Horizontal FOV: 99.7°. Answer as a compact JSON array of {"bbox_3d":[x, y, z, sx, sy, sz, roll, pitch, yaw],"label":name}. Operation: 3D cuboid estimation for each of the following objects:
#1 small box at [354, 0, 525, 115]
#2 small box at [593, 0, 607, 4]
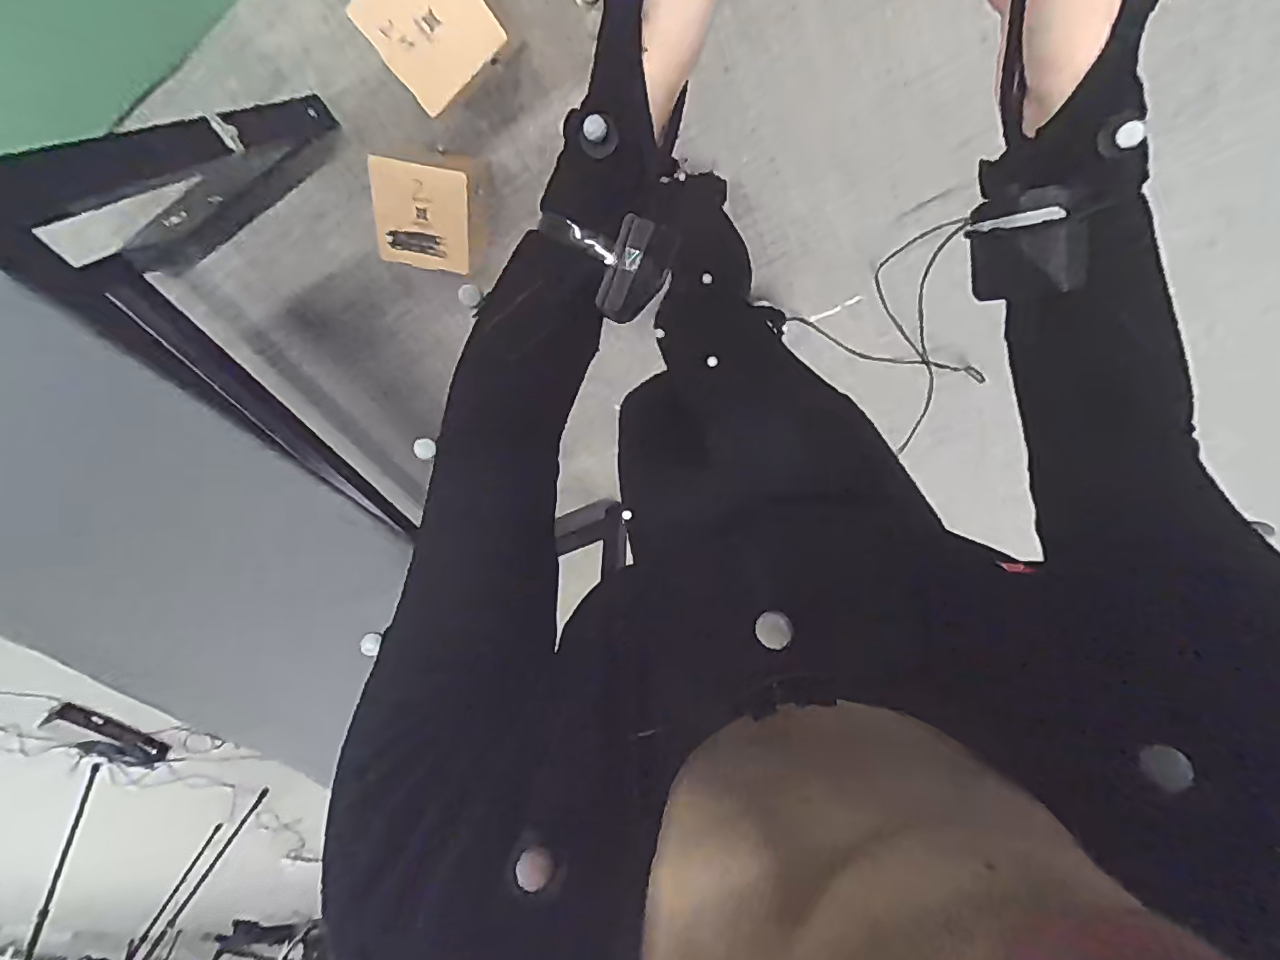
[{"bbox_3d":[-0.300,-0.721,0.850,0.179,0.176,0.168,-29,123,23],"label":"small box"},{"bbox_3d":[-0.033,-0.818,0.766,0.168,0.176,0.179,-15,128,12],"label":"small box"}]
